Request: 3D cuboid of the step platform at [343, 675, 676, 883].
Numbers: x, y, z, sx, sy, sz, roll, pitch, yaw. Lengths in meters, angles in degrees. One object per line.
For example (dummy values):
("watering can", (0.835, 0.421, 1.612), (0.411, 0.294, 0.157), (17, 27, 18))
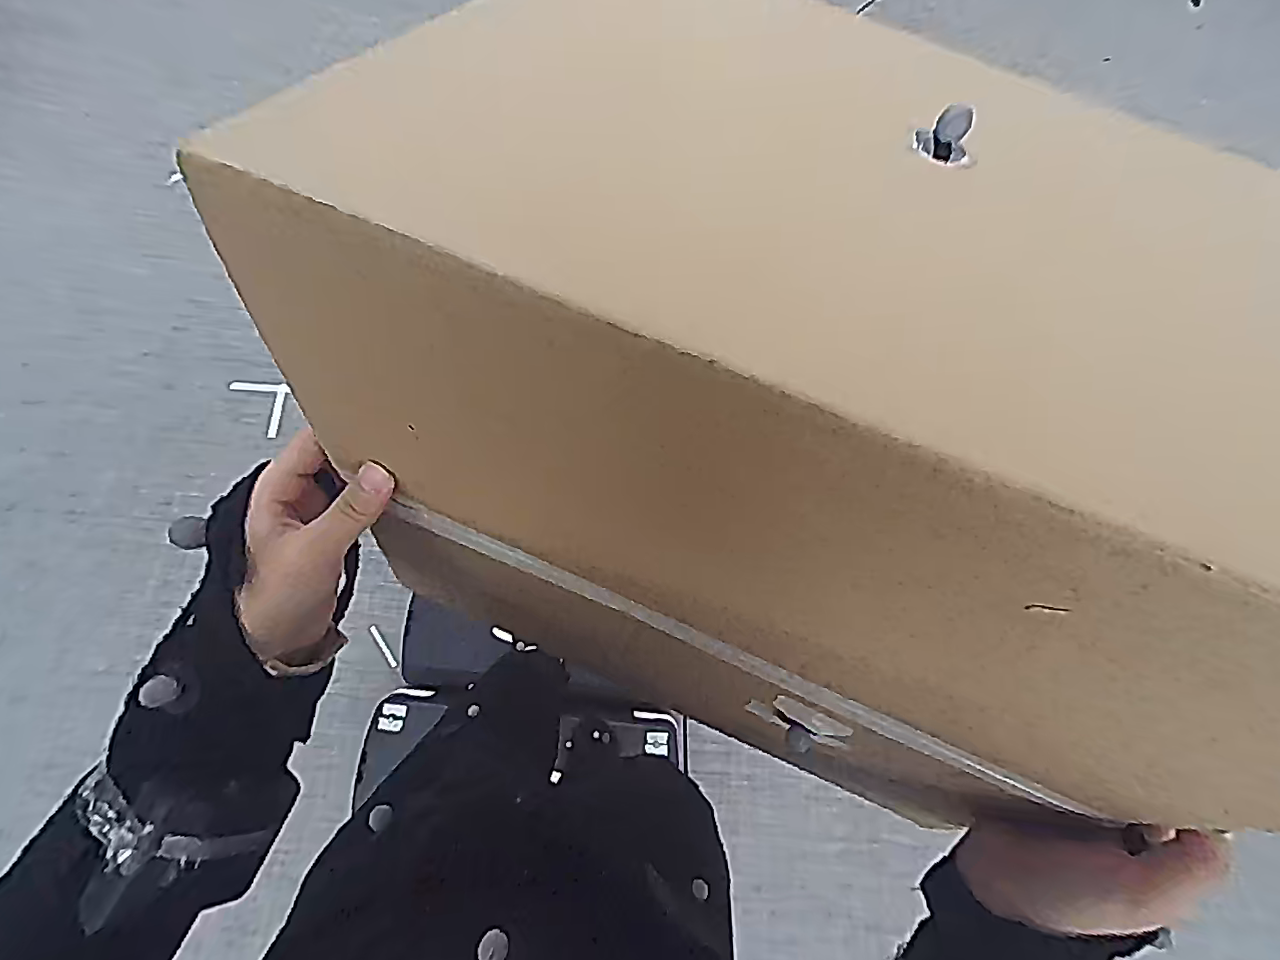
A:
("step platform", (-0.265, 0.637, 1.188), (0.684, 0.204, 0.286), (11, 74, 1))
